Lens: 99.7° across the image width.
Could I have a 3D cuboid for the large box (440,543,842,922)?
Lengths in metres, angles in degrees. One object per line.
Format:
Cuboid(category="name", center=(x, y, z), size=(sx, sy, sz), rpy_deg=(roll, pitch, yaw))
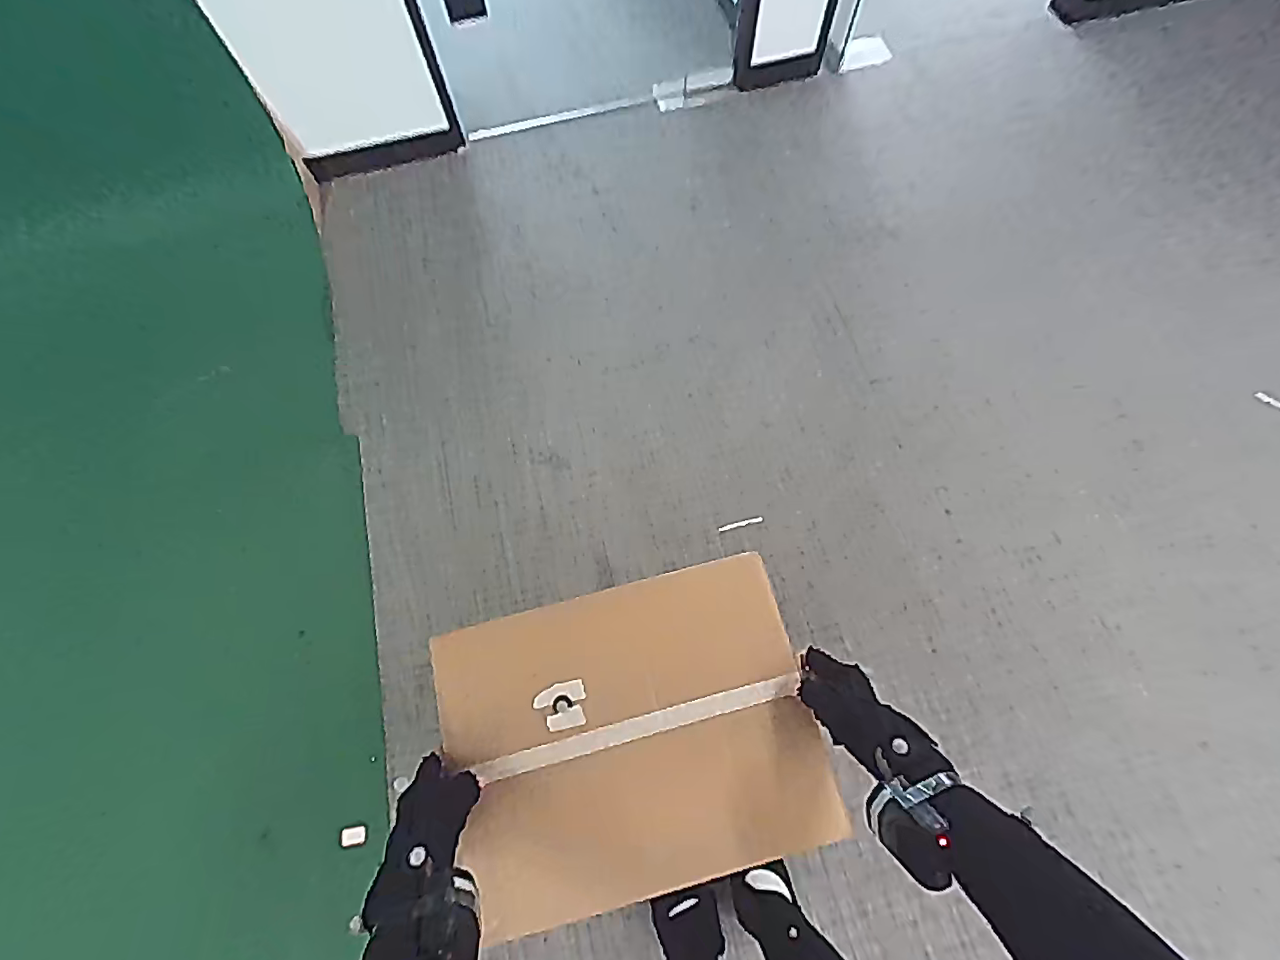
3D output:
Cuboid(category="large box", center=(-0.005, 0.309, 0.753), size=(0.408, 0.320, 0.320), rpy_deg=(-14, 72, -3))
